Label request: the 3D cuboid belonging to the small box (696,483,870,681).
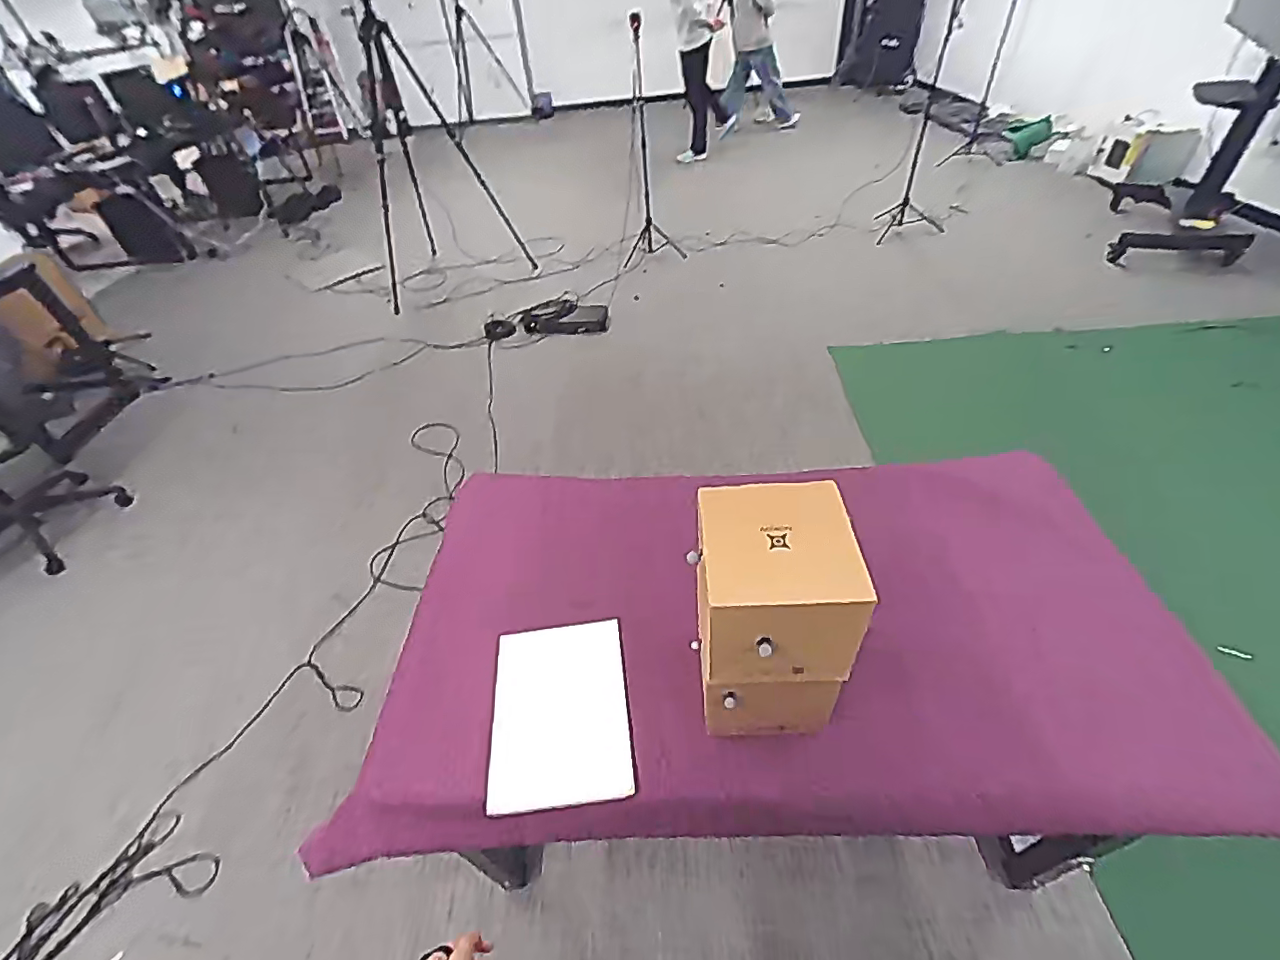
[{"bbox_3d":[0.156,0.126,0.649,0.168,0.176,0.179,-3,42,4],"label":"small box"}]
